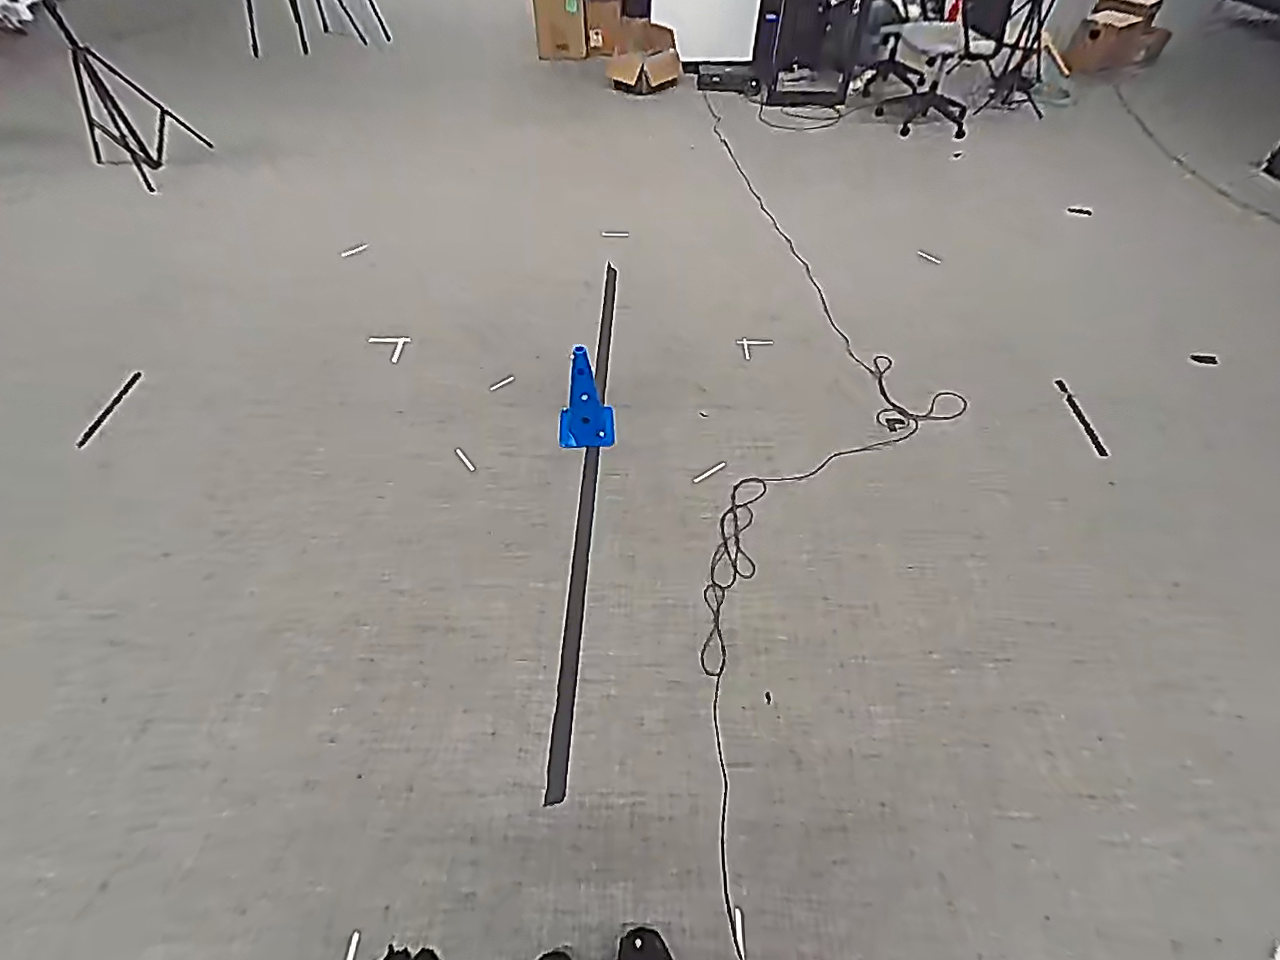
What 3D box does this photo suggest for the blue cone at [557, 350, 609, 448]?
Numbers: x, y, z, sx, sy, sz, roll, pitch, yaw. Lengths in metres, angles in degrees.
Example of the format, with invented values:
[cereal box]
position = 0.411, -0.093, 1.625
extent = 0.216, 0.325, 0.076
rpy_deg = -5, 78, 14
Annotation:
[blue cone]
position = -0.211, -0.293, 1.877
extent = 0.192, 0.380, 0.193
rpy_deg = -2, 51, -1
